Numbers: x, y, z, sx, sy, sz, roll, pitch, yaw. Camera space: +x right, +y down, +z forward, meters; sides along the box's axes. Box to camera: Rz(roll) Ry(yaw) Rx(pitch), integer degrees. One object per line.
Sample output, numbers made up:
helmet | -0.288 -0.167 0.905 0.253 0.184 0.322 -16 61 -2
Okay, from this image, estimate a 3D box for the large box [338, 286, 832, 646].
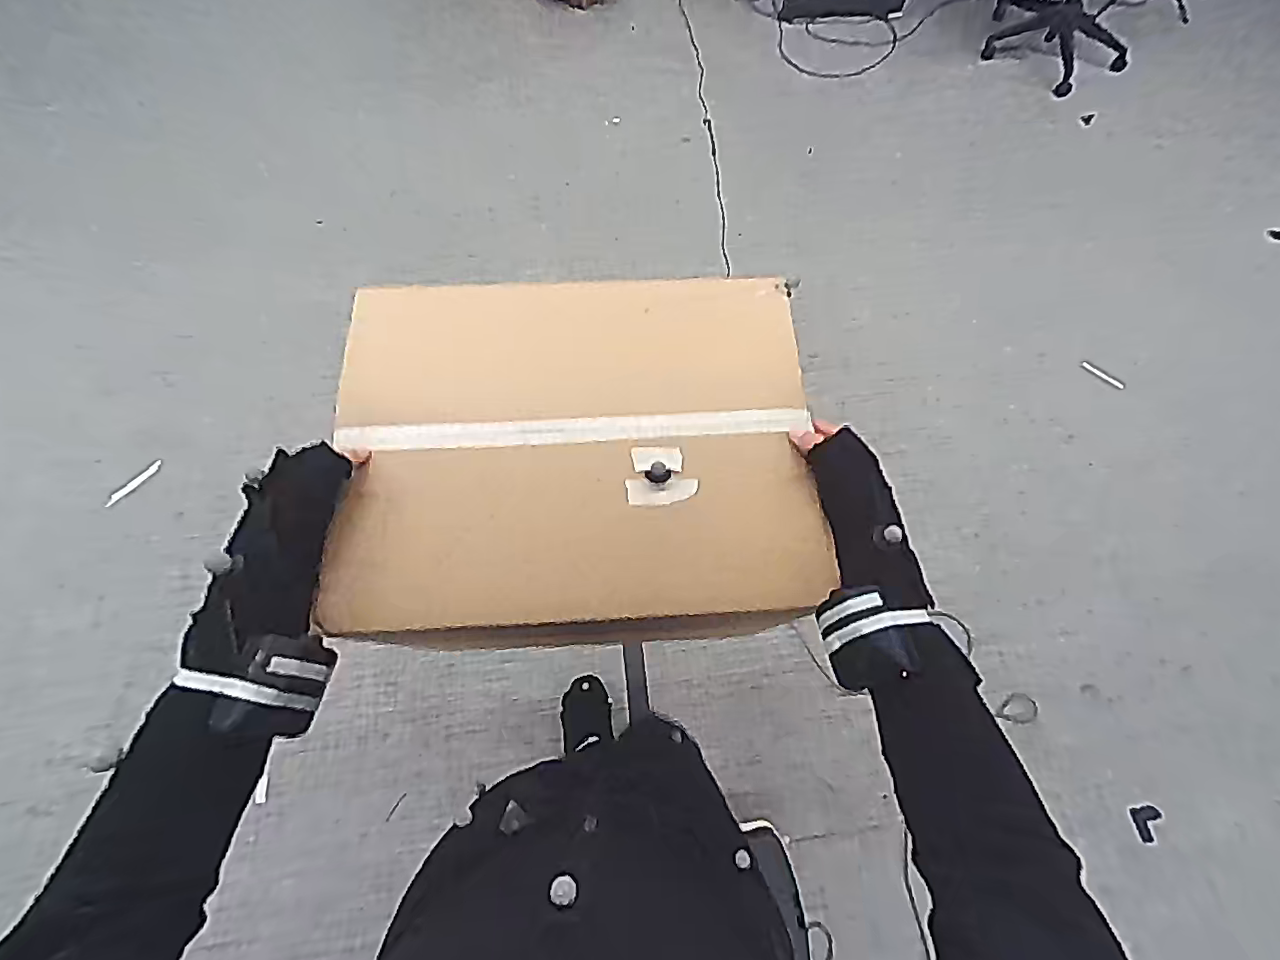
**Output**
large box | -0.055 0.009 0.620 0.408 0.320 0.320 -2 70 -3
